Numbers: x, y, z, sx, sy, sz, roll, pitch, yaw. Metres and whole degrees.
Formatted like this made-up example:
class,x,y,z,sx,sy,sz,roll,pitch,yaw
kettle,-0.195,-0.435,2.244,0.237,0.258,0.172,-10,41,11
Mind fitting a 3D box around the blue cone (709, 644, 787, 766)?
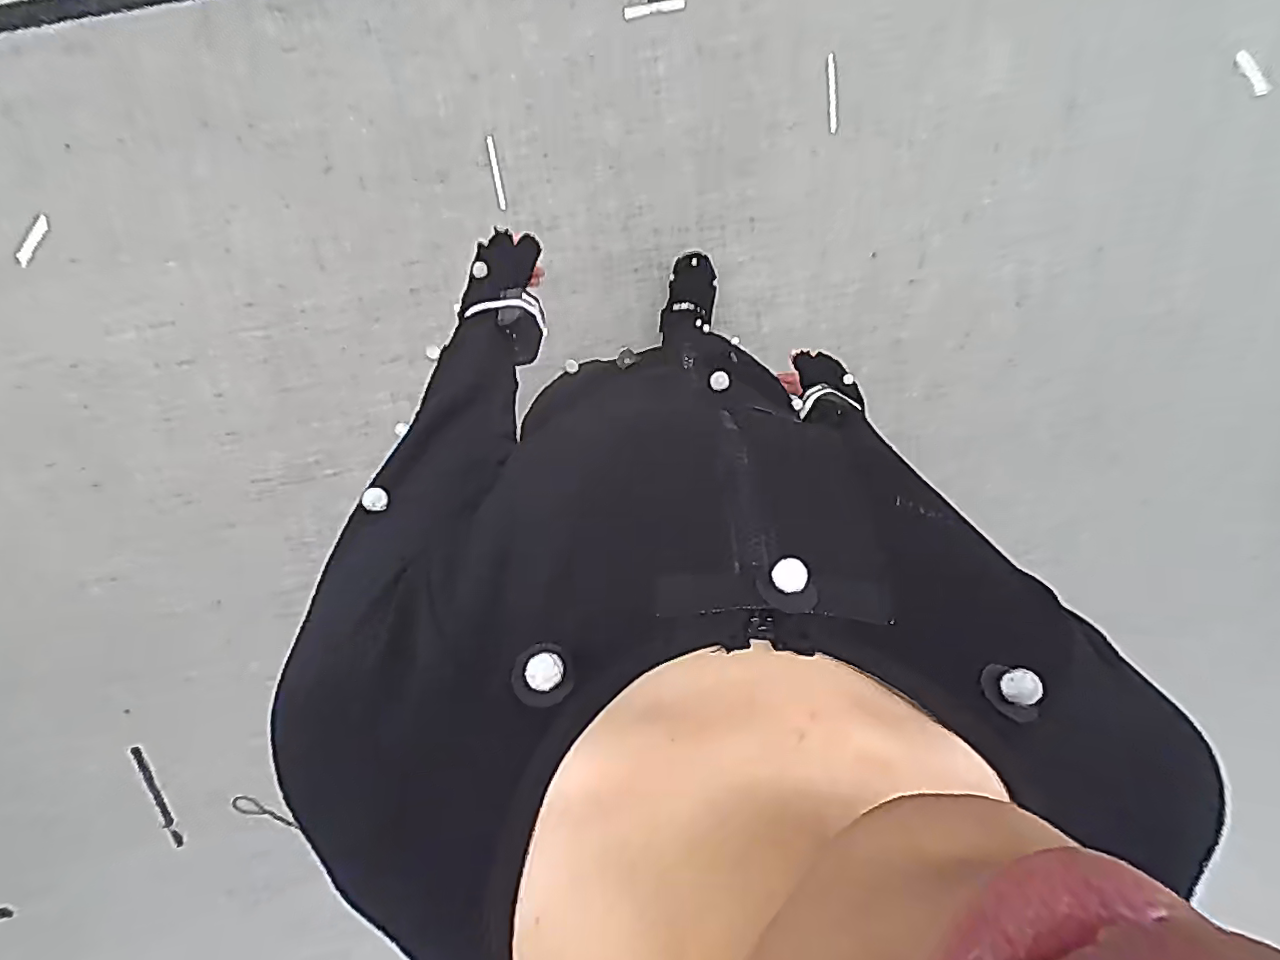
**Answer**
class,x,y,z,sx,sy,sz,roll,pitch,yaw
blue cone,0.326,0.651,1.524,0.192,0.380,0.193,-13,107,-1
